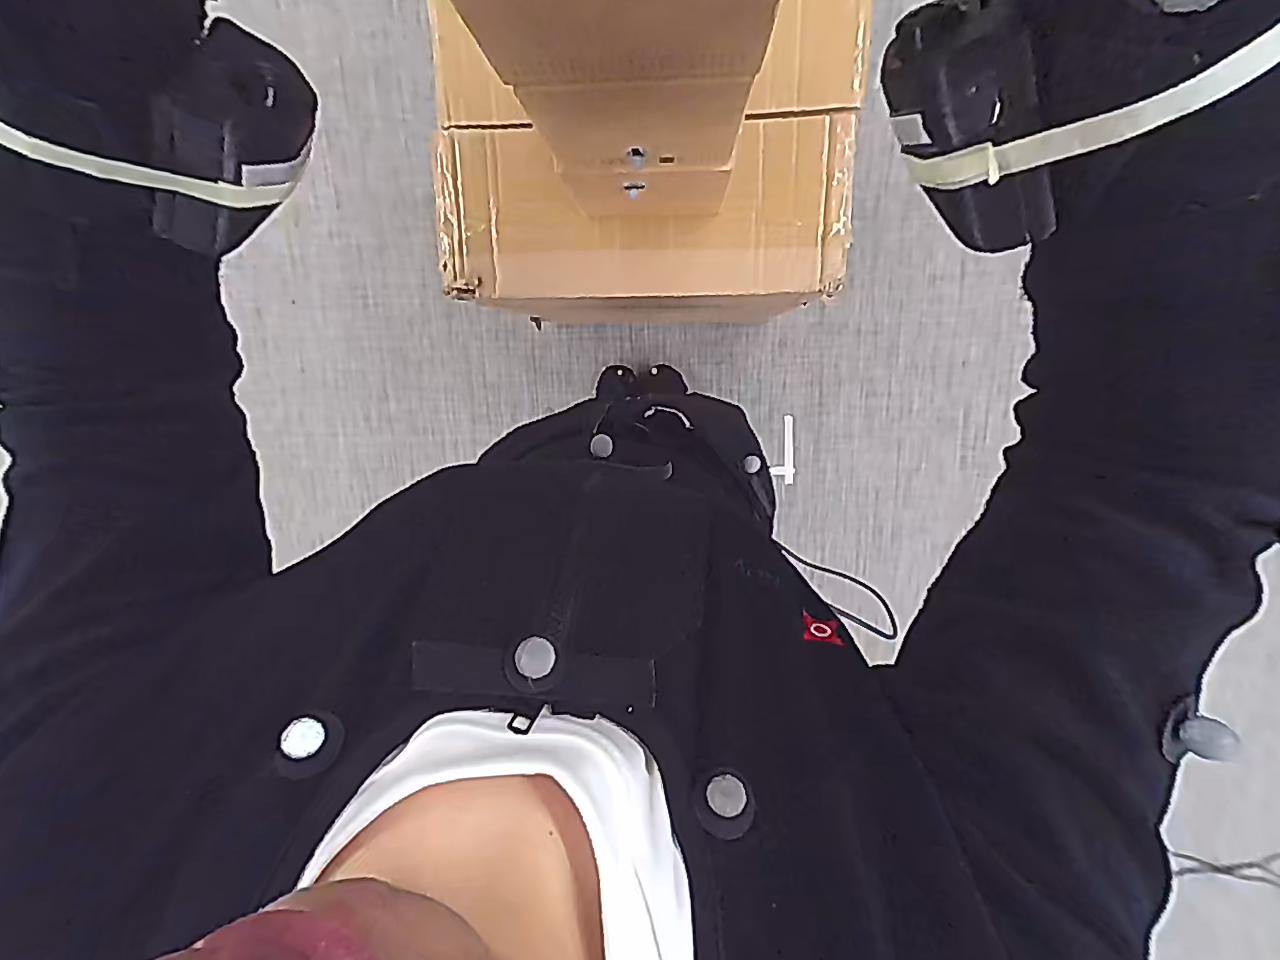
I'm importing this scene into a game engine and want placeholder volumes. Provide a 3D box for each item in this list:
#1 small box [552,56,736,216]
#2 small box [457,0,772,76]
[{"bbox_3d":[0.008,-0.394,0.584,0.179,0.176,0.168,1,103,3],"label":"small box"},{"bbox_3d":[-0.012,-0.329,0.262,0.179,0.176,0.168,1,103,4],"label":"small box"}]
